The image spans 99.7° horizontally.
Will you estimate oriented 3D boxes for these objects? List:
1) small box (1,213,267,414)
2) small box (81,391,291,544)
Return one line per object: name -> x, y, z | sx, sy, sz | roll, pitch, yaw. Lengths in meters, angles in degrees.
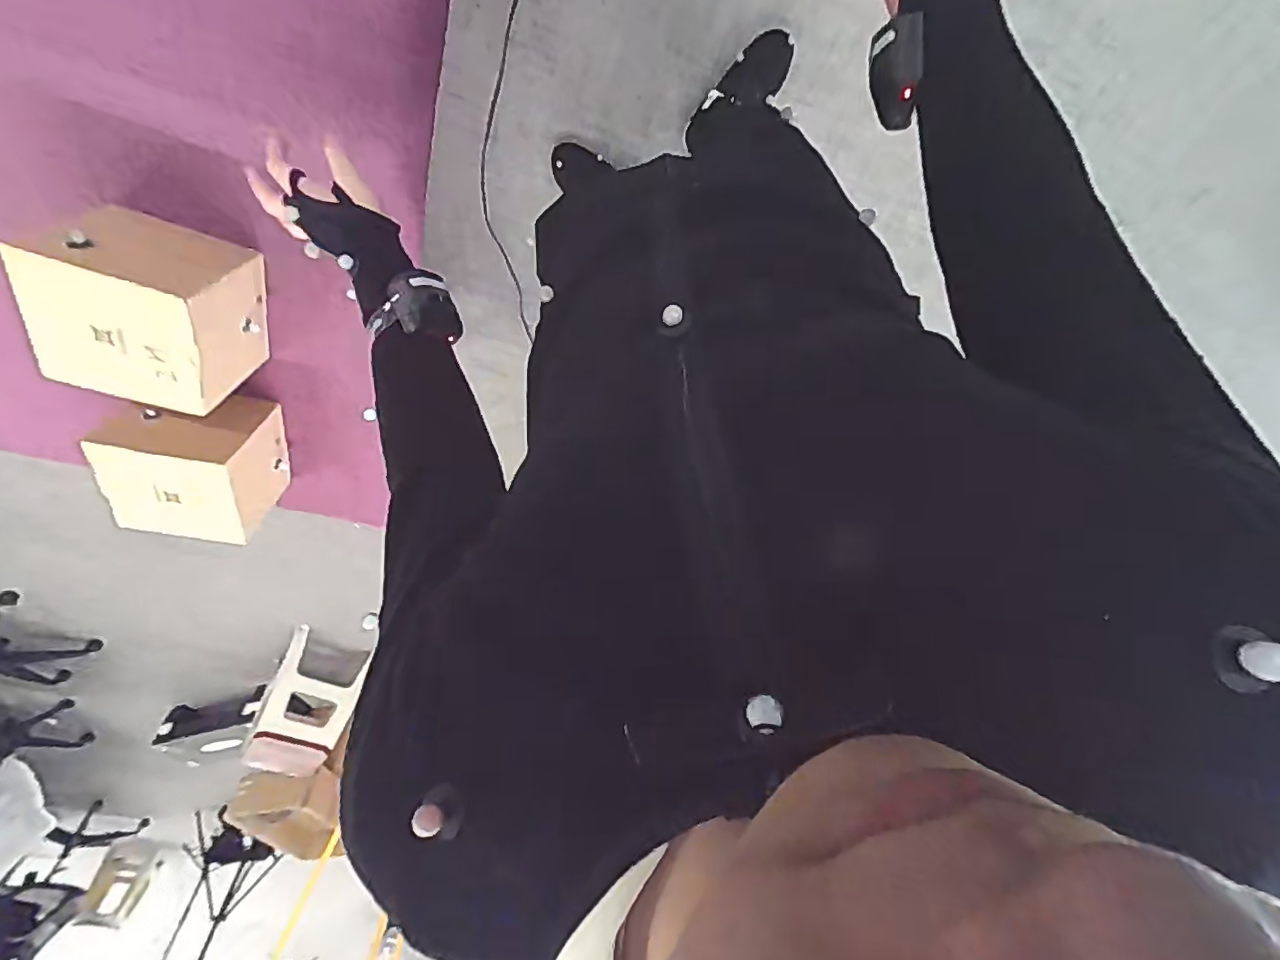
small box -> -0.611, -0.215, 0.685 | 0.179, 0.176, 0.168 | 15, 127, -15
small box -> -0.679, -0.029, 0.837 | 0.179, 0.176, 0.168 | 11, 129, -12
